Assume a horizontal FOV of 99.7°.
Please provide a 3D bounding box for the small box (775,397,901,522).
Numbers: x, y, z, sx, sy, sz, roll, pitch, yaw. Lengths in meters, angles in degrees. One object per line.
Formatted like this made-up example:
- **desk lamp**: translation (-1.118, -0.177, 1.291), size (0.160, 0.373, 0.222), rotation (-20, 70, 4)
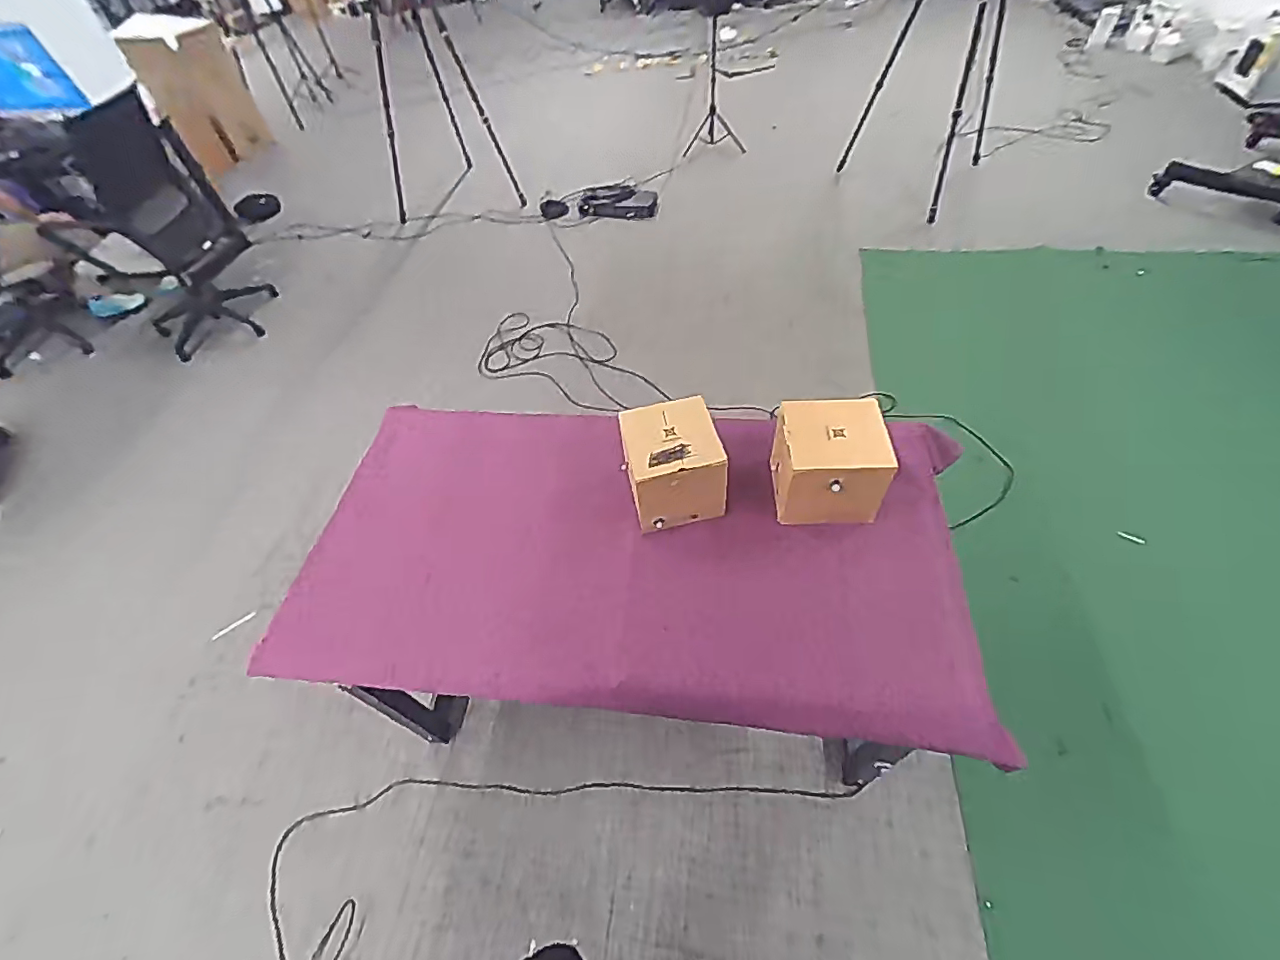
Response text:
- **small box**: translation (0.352, -0.034, 0.998), size (0.179, 0.176, 0.168), rotation (-2, 52, 7)

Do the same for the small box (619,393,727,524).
- **small box**: translation (0.063, -0.033, 1.029), size (0.168, 0.176, 0.179), rotation (-12, 52, -3)
